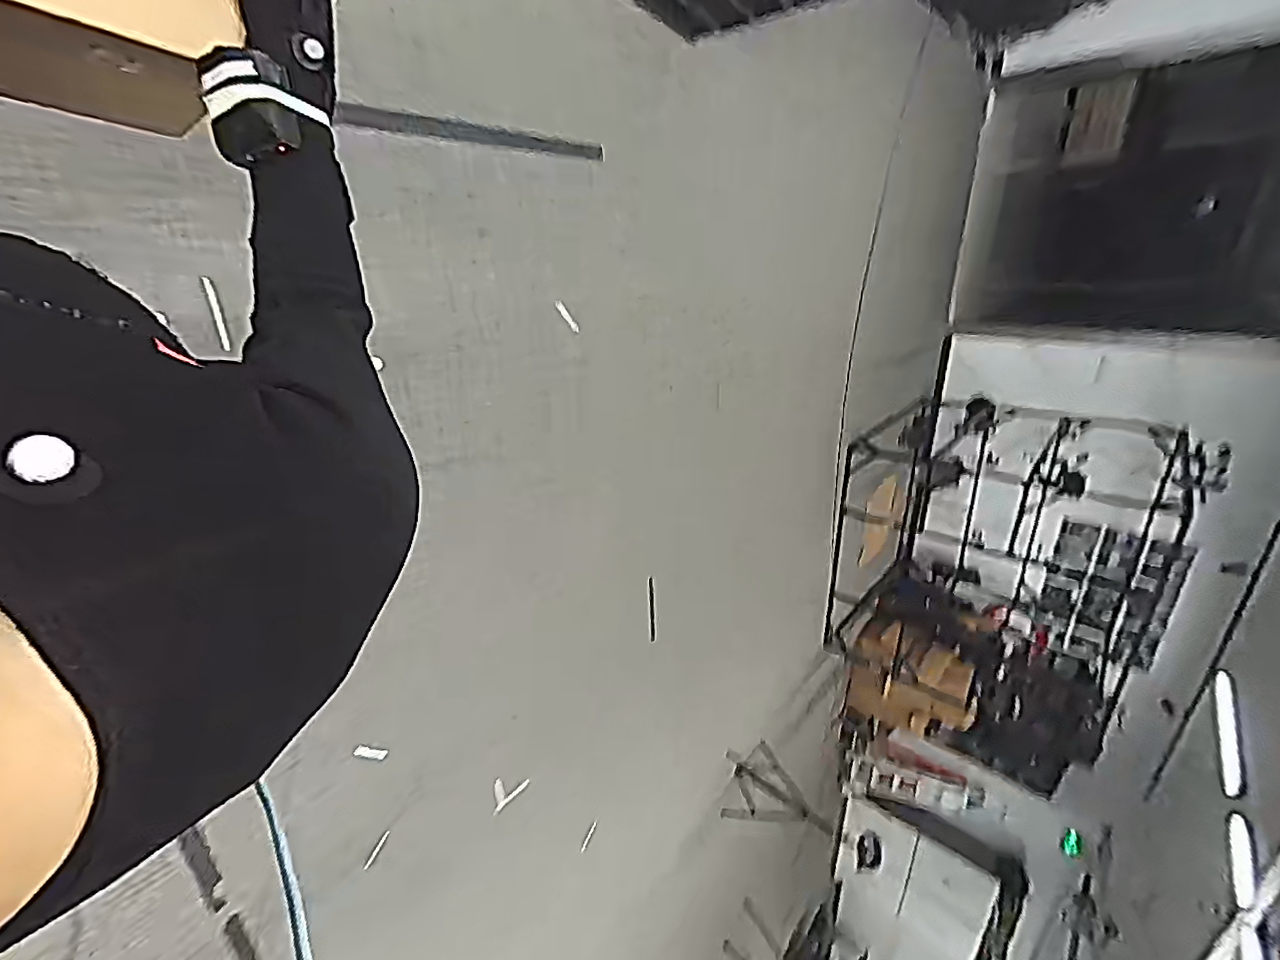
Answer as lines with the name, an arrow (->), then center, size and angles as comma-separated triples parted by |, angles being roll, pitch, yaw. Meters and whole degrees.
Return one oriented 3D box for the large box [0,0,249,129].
large box -> -0.538, -0.472, 0.335 | 0.408, 0.320, 0.320 | -12, 114, -46
